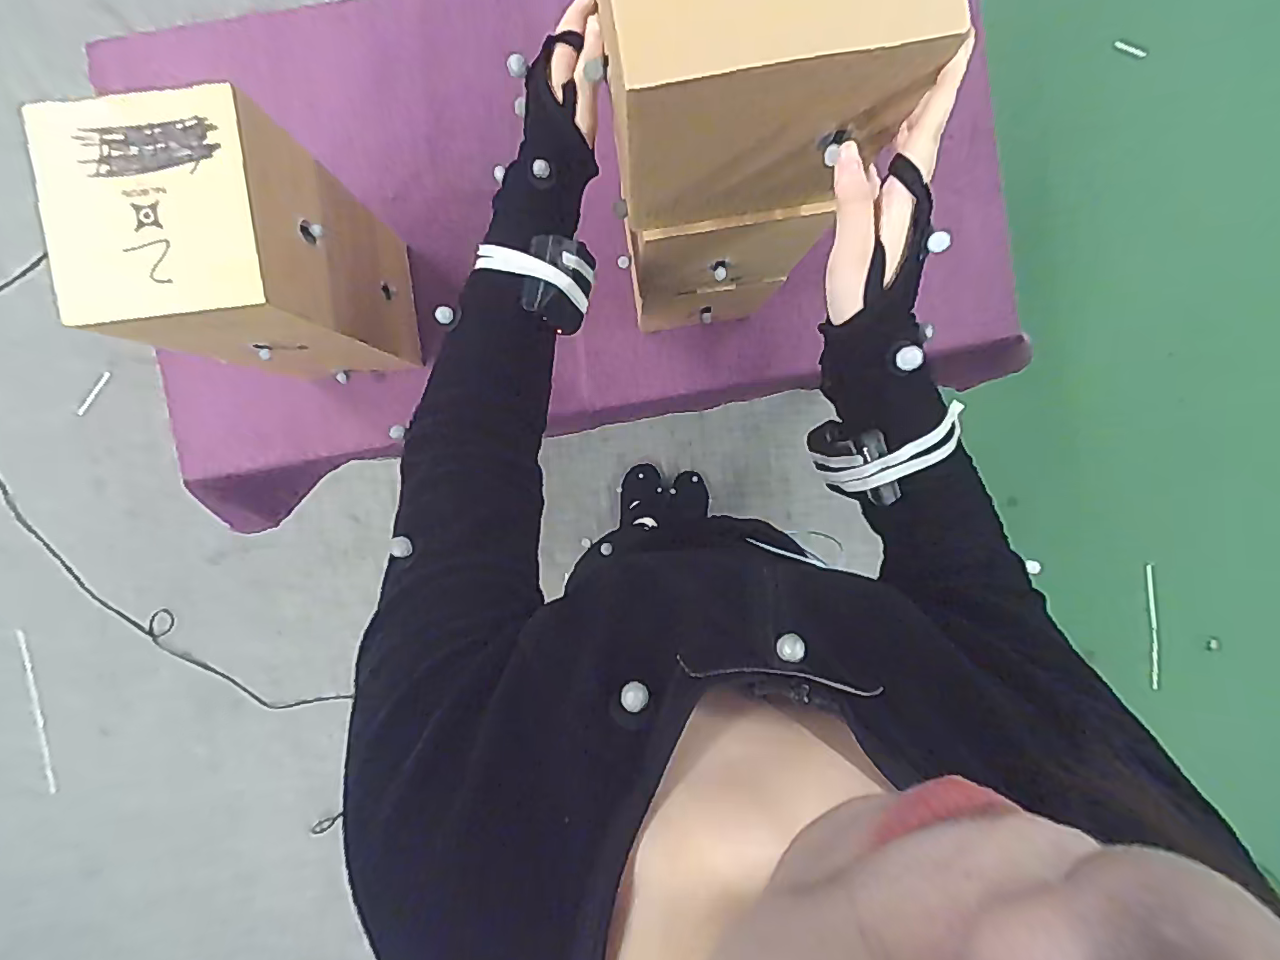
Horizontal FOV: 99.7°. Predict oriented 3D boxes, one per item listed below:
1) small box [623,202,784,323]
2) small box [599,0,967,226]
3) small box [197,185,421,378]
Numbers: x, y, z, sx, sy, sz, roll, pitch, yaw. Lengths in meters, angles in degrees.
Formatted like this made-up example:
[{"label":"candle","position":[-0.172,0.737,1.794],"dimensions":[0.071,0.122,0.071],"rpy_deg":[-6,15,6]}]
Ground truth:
[{"label":"small box","position":[0.069,-0.303,0.674],"dimensions":[0.168,0.176,0.179],"rpy_deg":[-8,94,-1]},{"label":"small box","position":[0.066,-0.287,0.345],"dimensions":[0.179,0.176,0.168],"rpy_deg":[-9,92,0]},{"label":"small box","position":[-0.392,-0.232,0.671],"dimensions":[0.168,0.176,0.179],"rpy_deg":[-7,94,0]}]
